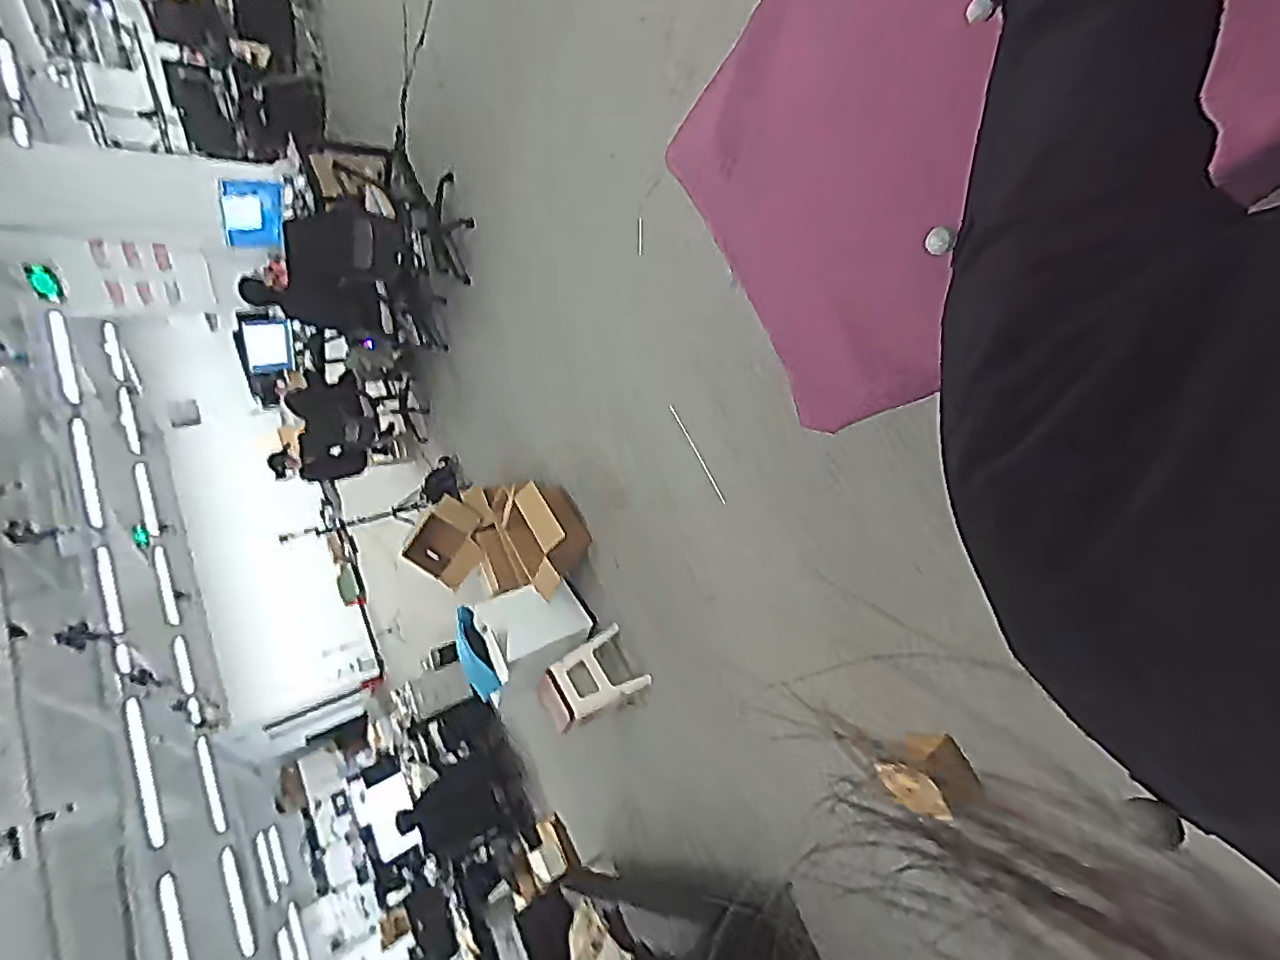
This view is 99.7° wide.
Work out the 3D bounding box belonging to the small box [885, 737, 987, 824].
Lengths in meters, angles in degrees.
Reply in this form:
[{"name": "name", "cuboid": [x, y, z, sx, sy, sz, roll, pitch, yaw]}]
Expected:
[{"name": "small box", "cuboid": [0.881, 0.890, 1.609, 0.179, 0.176, 0.168, -45, 67, 50]}]
